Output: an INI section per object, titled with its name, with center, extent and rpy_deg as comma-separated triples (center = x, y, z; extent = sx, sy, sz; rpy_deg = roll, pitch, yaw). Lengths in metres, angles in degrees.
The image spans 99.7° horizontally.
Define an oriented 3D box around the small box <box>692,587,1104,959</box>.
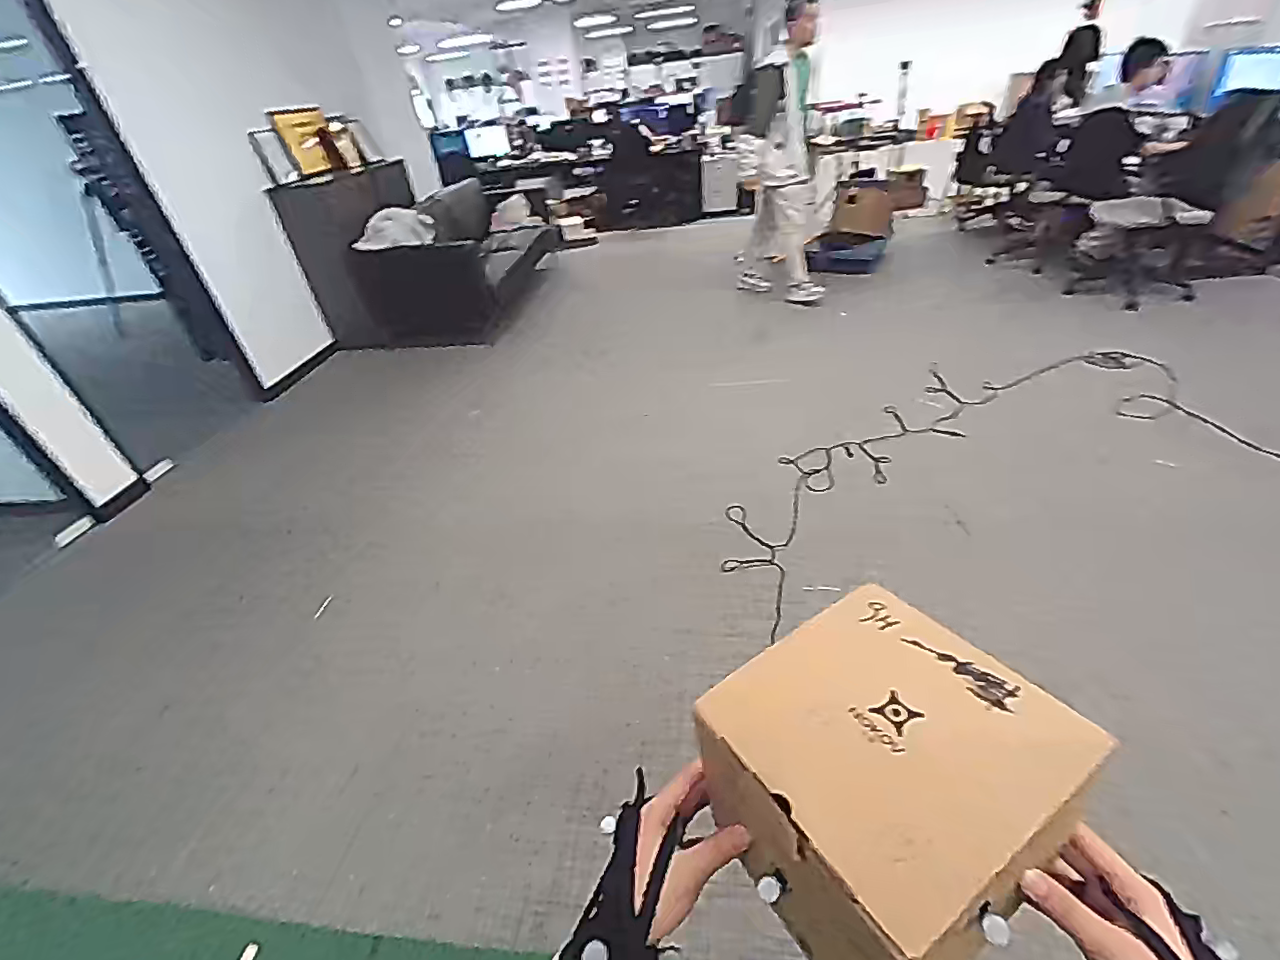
[small box]
center = 0.162, 0.216, 0.374
extent = 0.179, 0.176, 0.168
rpy_deg = -26, 36, -20
